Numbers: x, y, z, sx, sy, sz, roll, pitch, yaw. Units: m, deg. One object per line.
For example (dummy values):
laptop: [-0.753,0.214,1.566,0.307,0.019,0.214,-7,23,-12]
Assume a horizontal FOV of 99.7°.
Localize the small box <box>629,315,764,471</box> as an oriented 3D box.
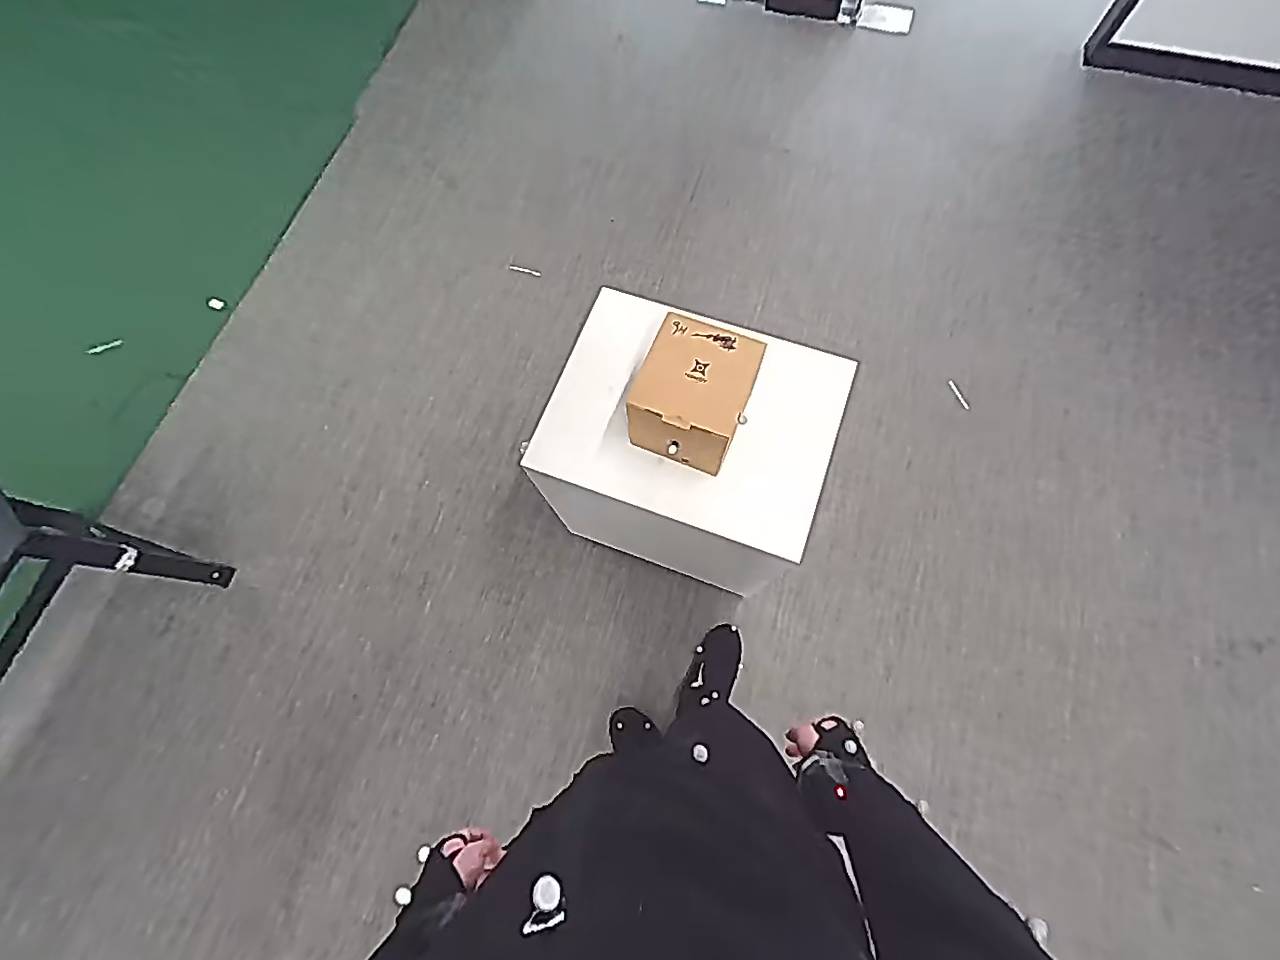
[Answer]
small box: [0.092,-0.136,0.901,0.168,0.176,0.179,19,73,8]
